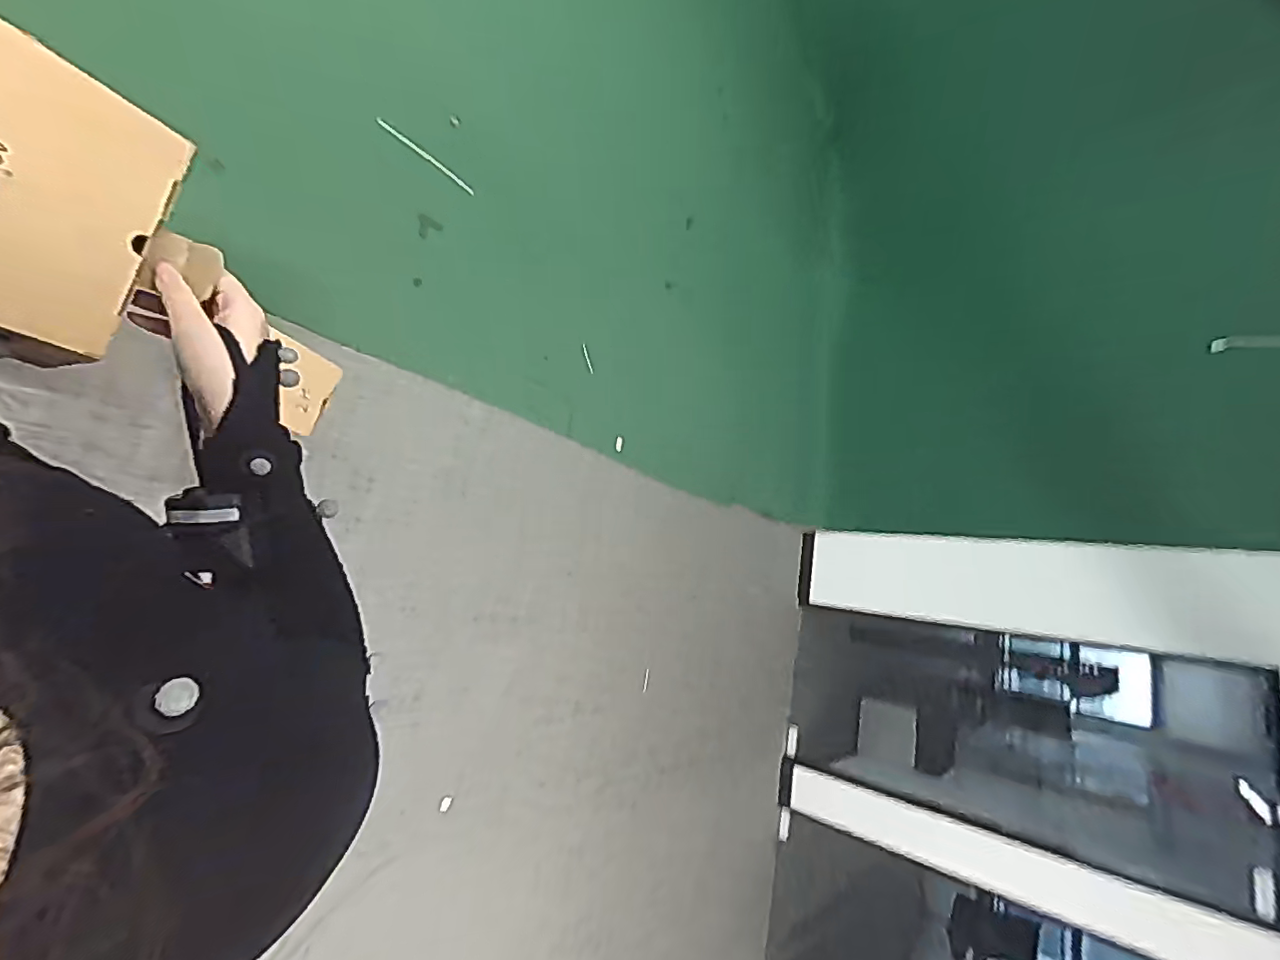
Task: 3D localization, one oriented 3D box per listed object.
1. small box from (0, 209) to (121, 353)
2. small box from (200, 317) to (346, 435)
[{"bbox_3d":[-1.084,-0.348,0.982,0.168,0.176,0.179,20,75,-47],"label":"small box"},{"bbox_3d":[-0.753,-0.201,1.107,0.179,0.176,0.168,37,64,-42],"label":"small box"}]
